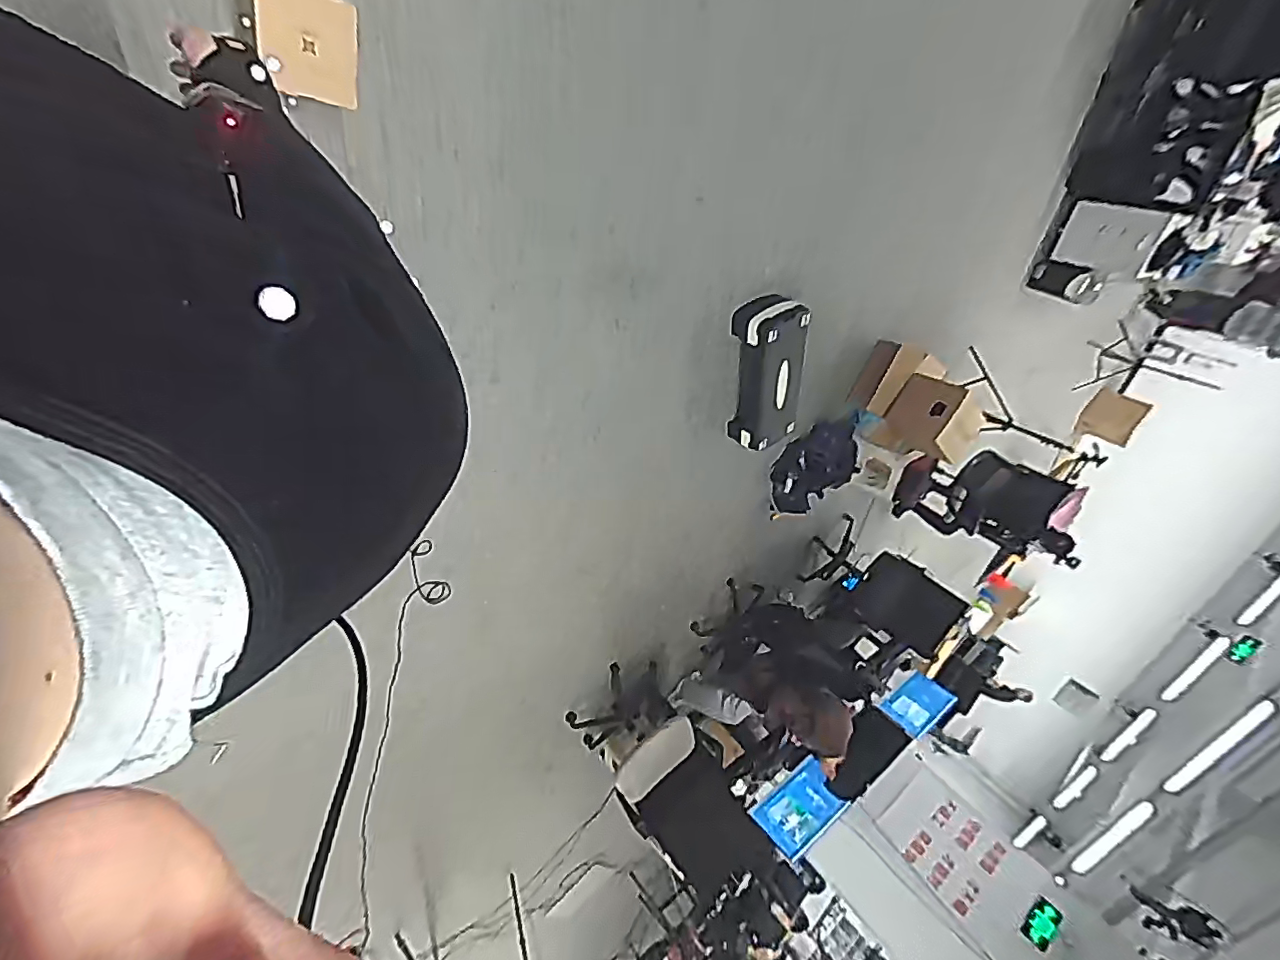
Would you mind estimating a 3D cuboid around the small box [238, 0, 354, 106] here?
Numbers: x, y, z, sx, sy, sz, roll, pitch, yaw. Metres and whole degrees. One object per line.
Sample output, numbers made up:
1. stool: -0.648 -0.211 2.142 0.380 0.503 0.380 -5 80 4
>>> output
1. small box: -0.664 -0.854 1.046 0.168 0.176 0.179 -9 126 -38
